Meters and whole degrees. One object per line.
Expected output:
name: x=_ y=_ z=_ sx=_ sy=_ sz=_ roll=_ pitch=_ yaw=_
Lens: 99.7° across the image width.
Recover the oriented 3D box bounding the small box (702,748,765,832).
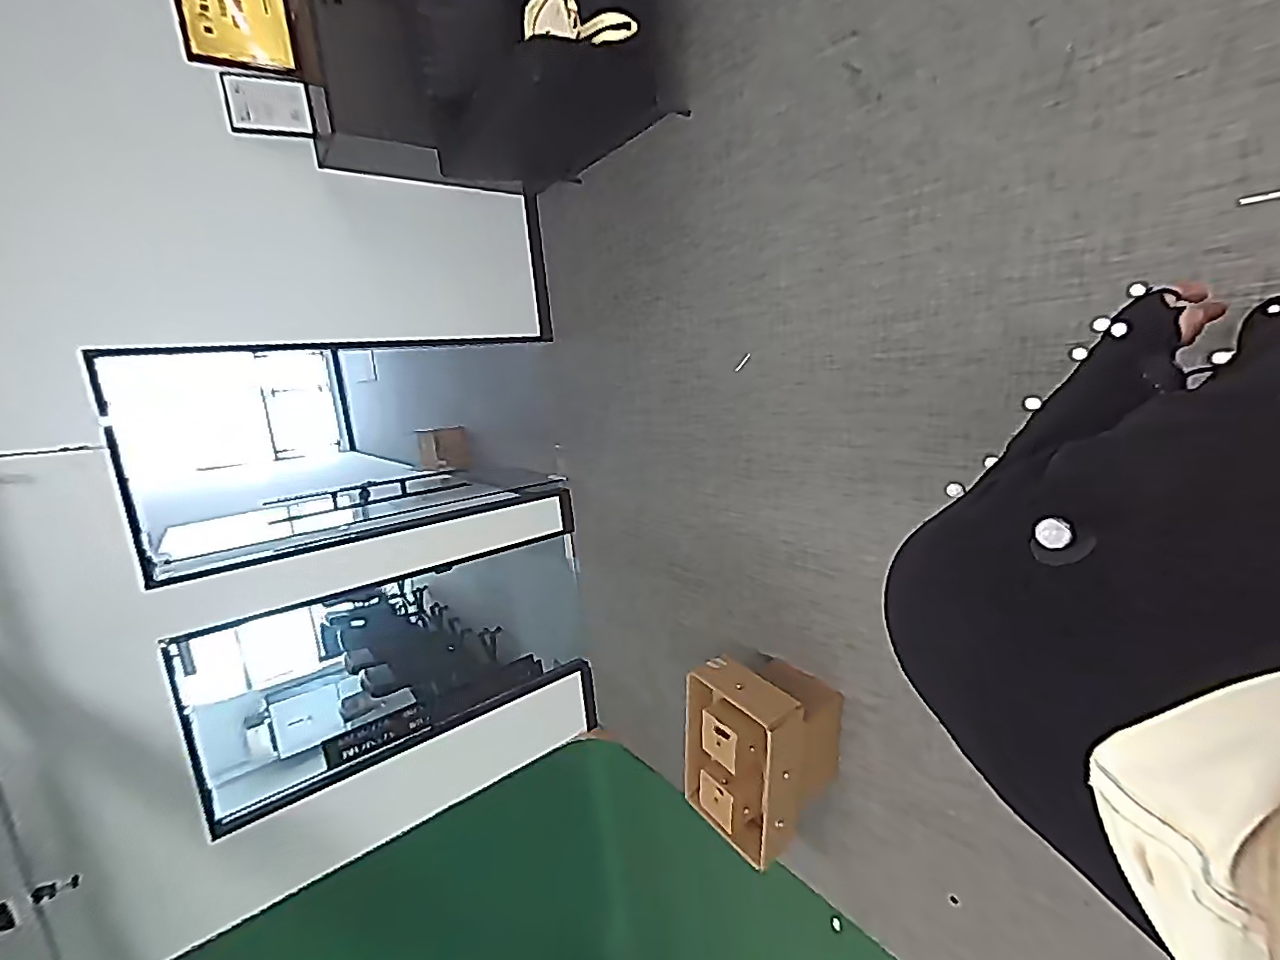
small box: x=0.351 y=1.152 z=2.024 sx=0.168 sy=0.176 sz=0.179 roll=20 pitch=117 yaw=50
